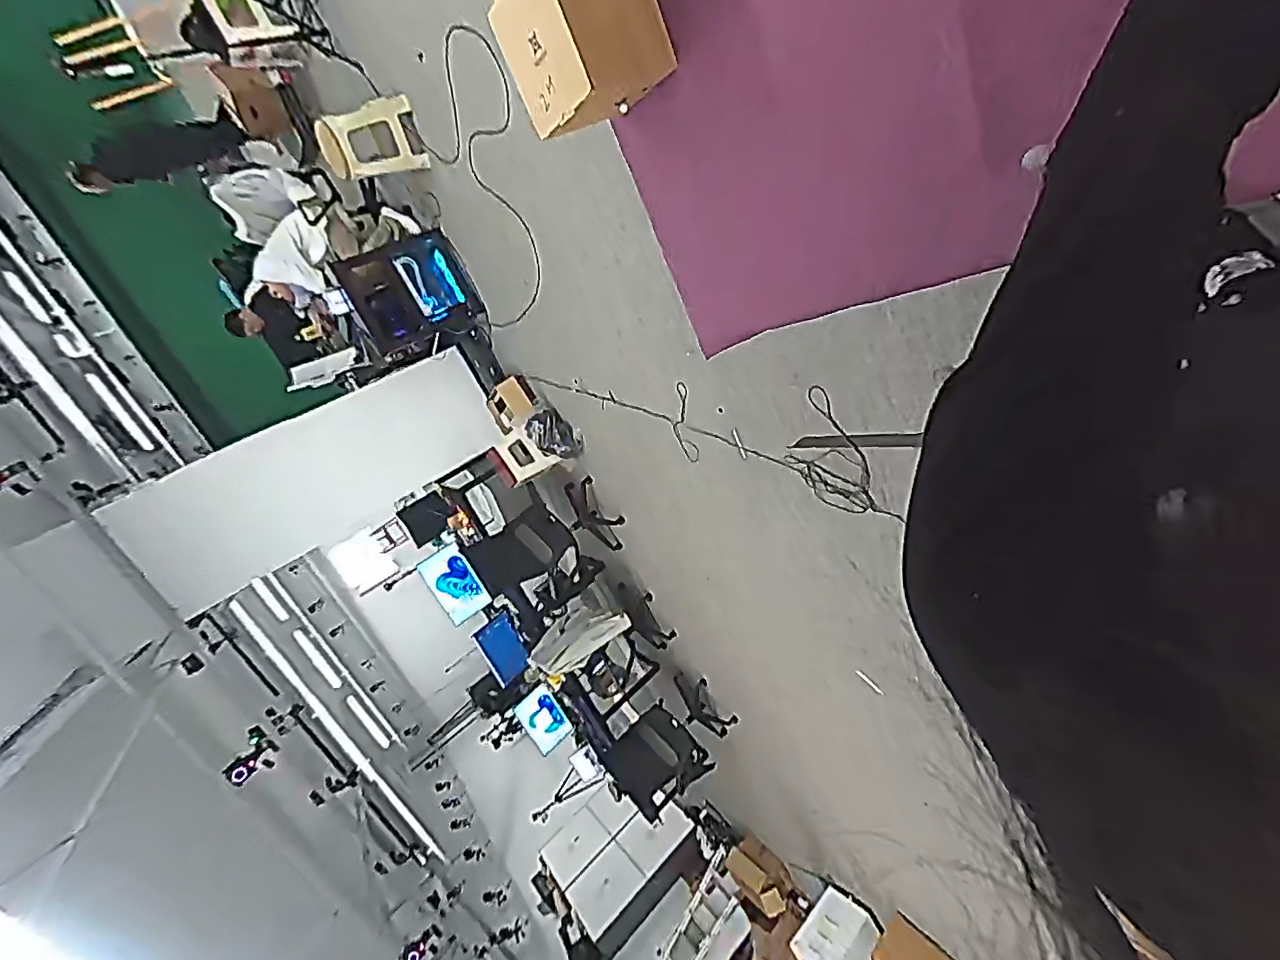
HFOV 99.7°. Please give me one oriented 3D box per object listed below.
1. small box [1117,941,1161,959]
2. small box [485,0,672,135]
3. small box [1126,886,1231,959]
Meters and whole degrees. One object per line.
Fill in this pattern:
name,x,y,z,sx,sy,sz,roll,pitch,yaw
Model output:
small box,1.357,1.371,1.405,0.179,0.176,0.168,59,154,-12
small box,-0.085,-0.643,0.780,0.168,0.176,0.179,10,132,55
small box,1.466,1.272,1.475,0.179,0.176,0.168,16,135,53
